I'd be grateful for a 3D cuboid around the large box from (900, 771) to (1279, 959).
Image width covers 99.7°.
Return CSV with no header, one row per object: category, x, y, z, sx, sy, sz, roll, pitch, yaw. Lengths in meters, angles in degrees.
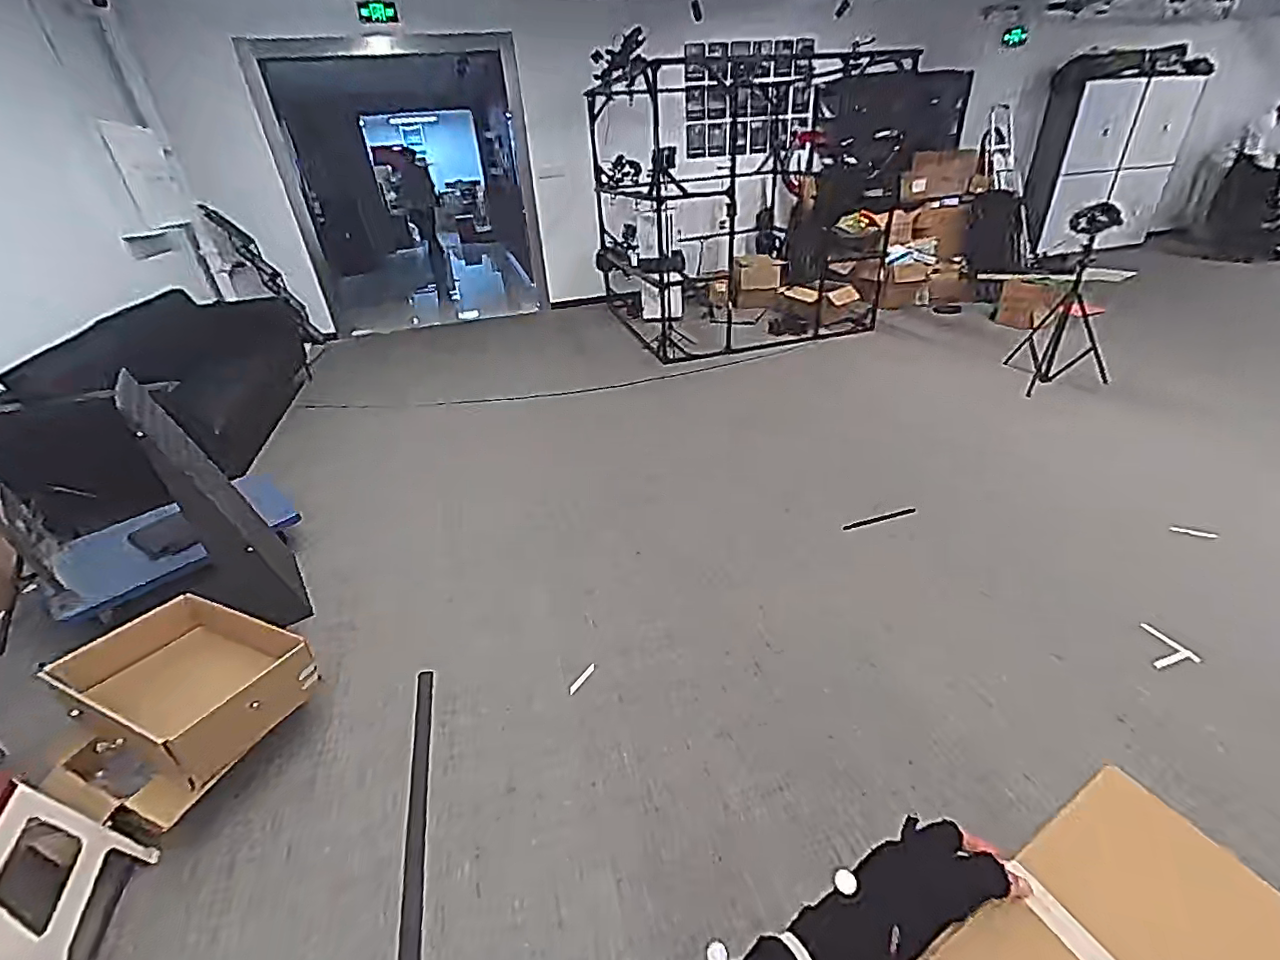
large box,0.404,0.535,0.399,0.320,0.320,0.408,-23,41,-21
